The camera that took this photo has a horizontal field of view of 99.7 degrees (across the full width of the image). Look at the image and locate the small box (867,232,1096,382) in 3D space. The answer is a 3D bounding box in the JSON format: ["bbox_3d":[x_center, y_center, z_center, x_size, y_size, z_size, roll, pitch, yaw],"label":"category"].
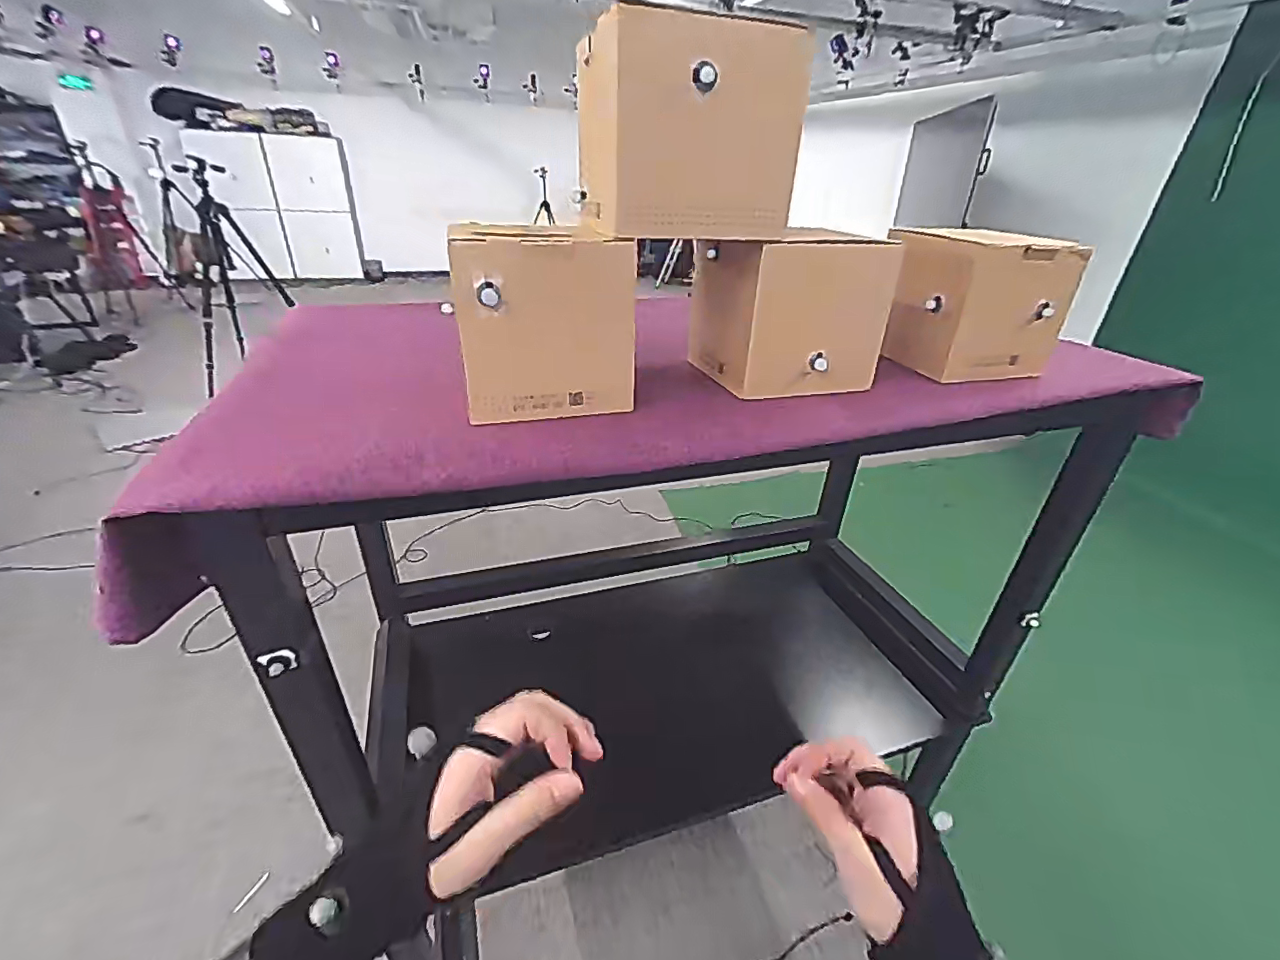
[{"bbox_3d":[0.441,-0.236,0.732,0.168,0.176,0.179,-5,30,-13],"label":"small box"}]

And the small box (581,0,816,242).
[{"bbox_3d":[0.042,-0.331,0.531,0.179,0.176,0.168,-5,30,-16],"label":"small box"}]
